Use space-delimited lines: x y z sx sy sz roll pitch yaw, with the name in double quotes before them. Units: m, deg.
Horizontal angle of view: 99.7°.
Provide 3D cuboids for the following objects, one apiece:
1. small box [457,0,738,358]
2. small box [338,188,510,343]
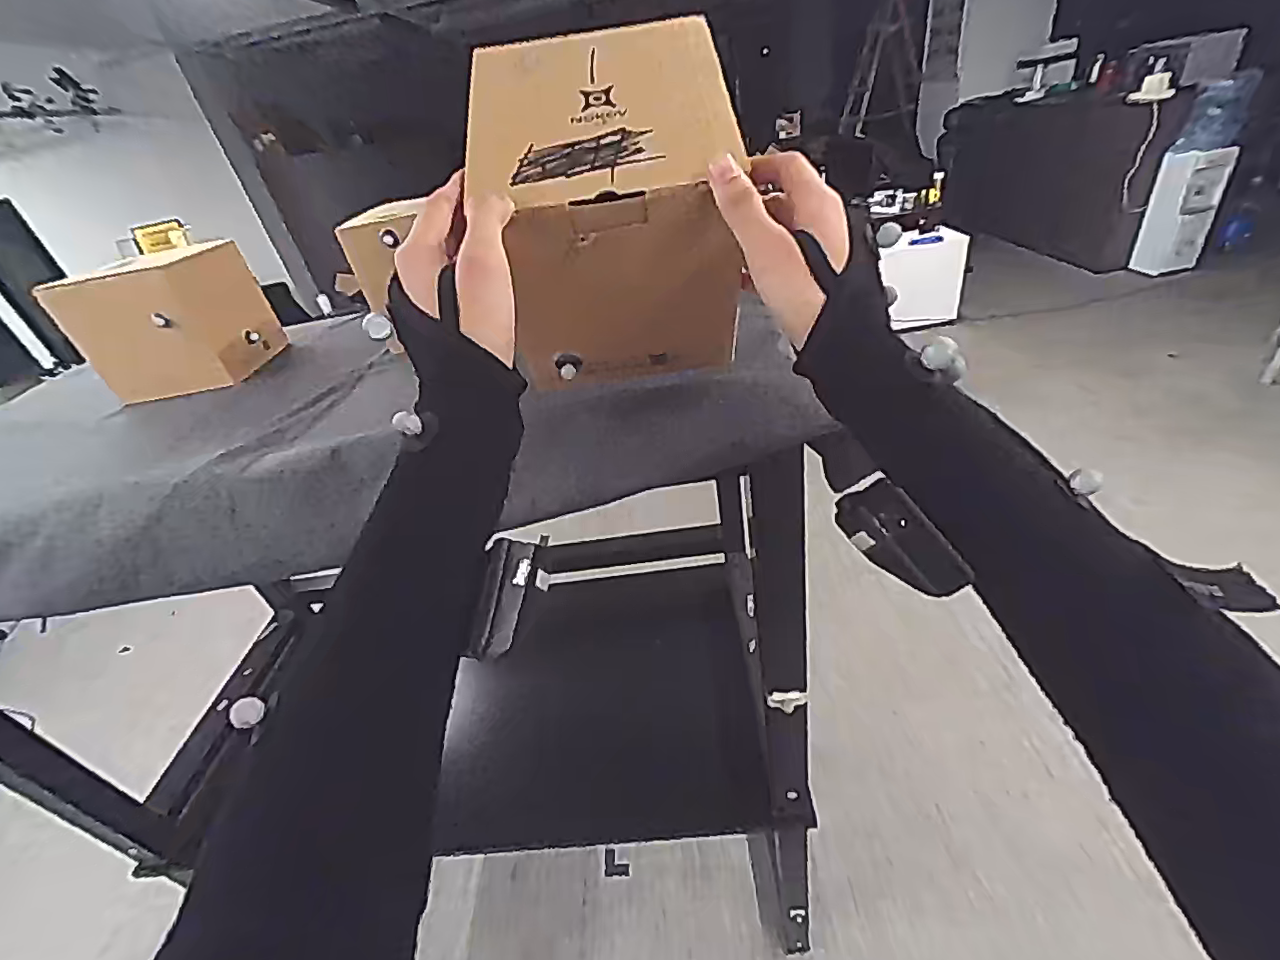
"small box" -0.024 -0.209 0.410 0.168 0.176 0.179 -7 64 2
"small box" -0.285 -0.311 0.776 0.168 0.176 0.179 -9 34 5
